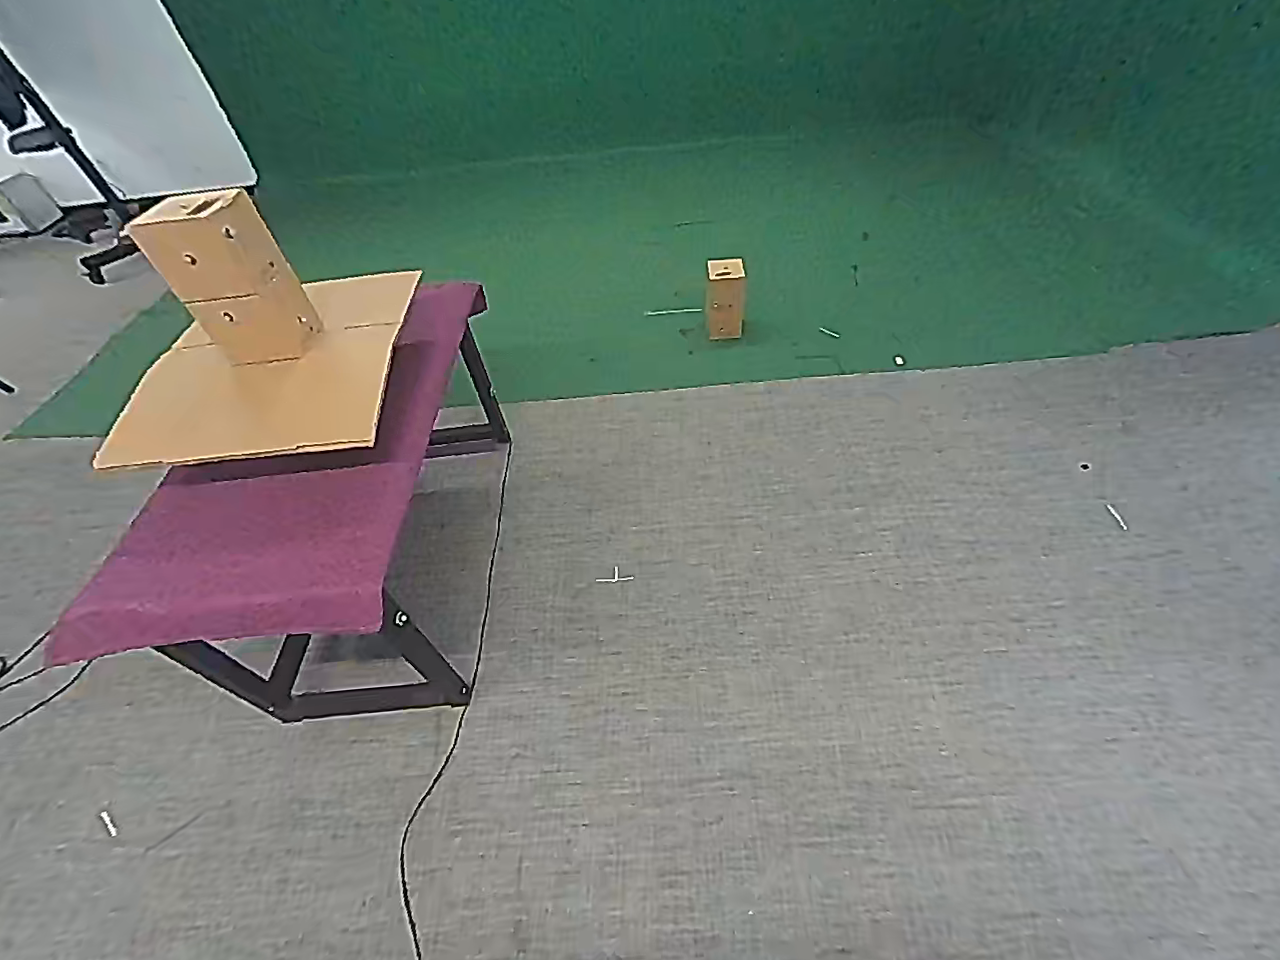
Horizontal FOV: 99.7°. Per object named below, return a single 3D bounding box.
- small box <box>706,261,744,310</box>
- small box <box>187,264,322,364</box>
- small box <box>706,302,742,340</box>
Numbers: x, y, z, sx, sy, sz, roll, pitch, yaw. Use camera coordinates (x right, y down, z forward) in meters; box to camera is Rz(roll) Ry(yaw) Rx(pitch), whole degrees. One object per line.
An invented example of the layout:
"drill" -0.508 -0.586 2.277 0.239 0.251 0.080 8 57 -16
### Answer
"small box" 0.409 -0.937 2.618 0.168 0.176 0.179 -1 49 4
"small box" -0.915 -0.396 1.303 0.179 0.176 0.168 -5 47 1
"small box" 0.422 -0.829 2.742 0.168 0.176 0.179 -3 49 3
